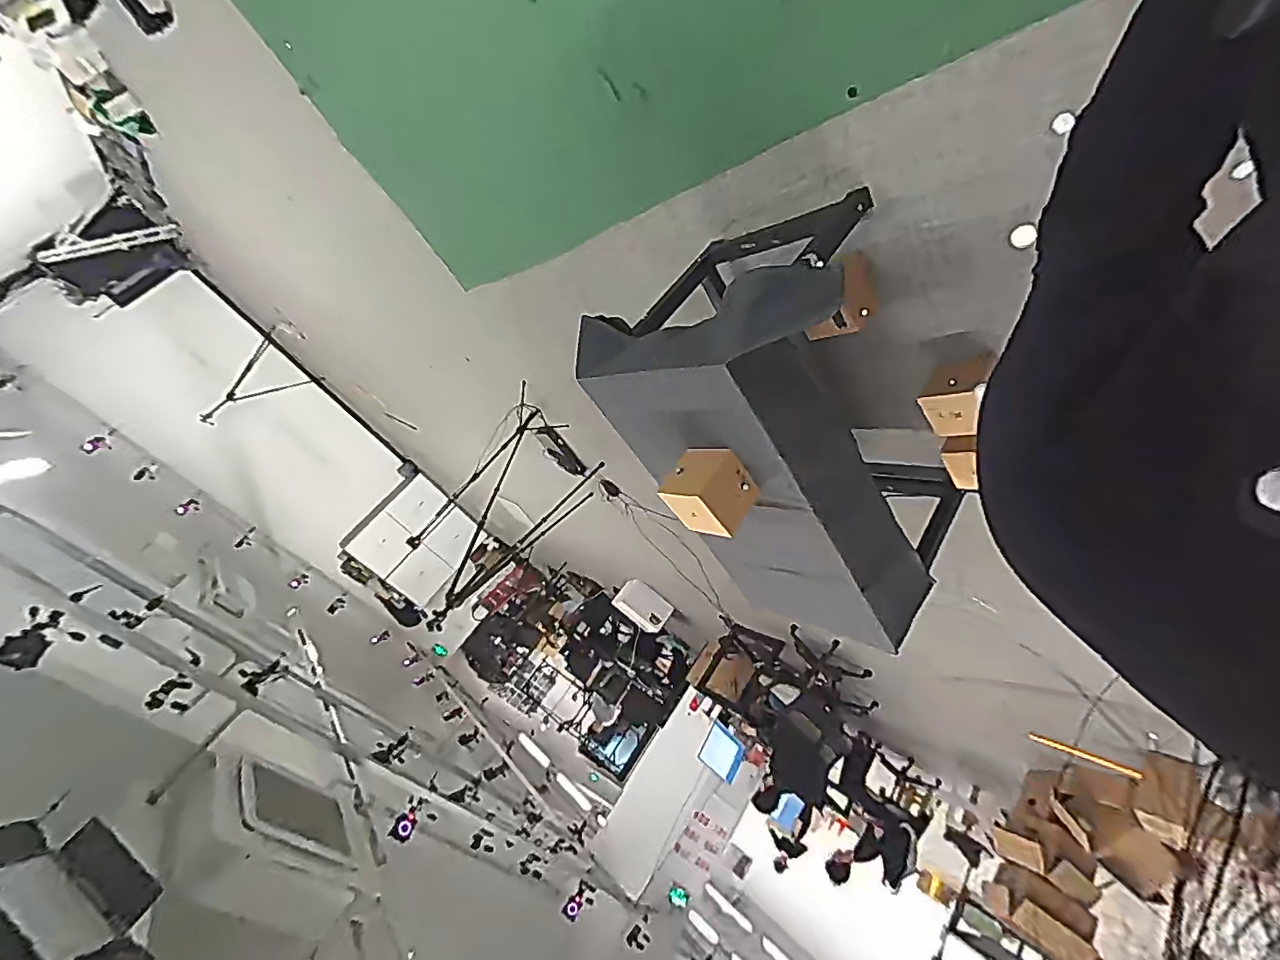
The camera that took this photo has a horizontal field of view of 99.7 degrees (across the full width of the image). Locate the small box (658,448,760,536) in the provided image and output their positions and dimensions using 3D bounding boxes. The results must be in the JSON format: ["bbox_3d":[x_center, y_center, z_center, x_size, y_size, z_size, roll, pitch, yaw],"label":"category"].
[{"bbox_3d":[0.189,0.025,1.462,0.168,0.176,0.179,48,157,-28],"label":"small box"}]
